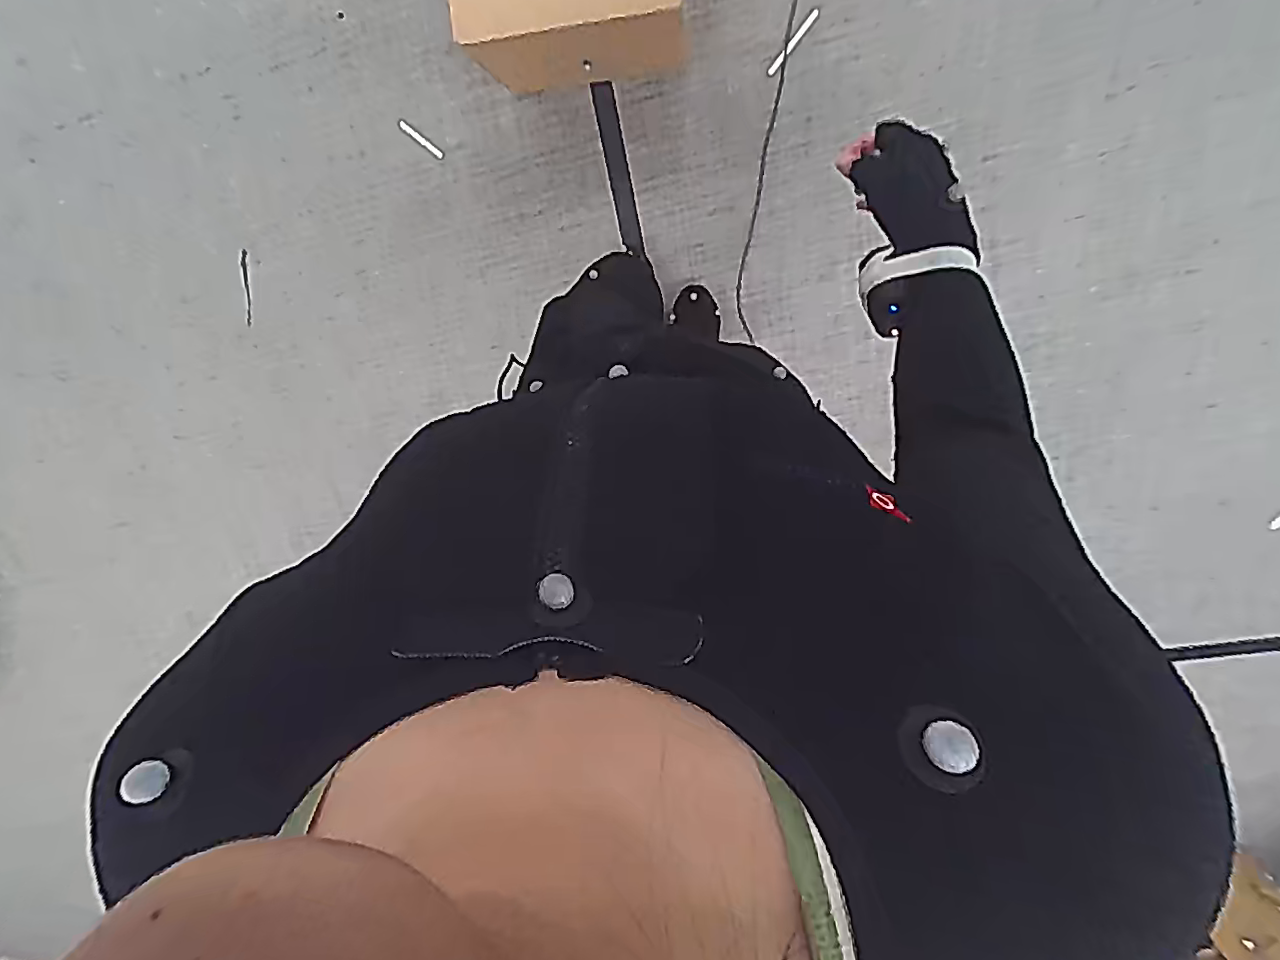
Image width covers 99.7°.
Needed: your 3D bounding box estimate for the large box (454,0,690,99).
[{"bbox_3d":[-0.120,-0.968,1.017,0.408,0.320,0.320,-3,112,8],"label":"large box"}]
